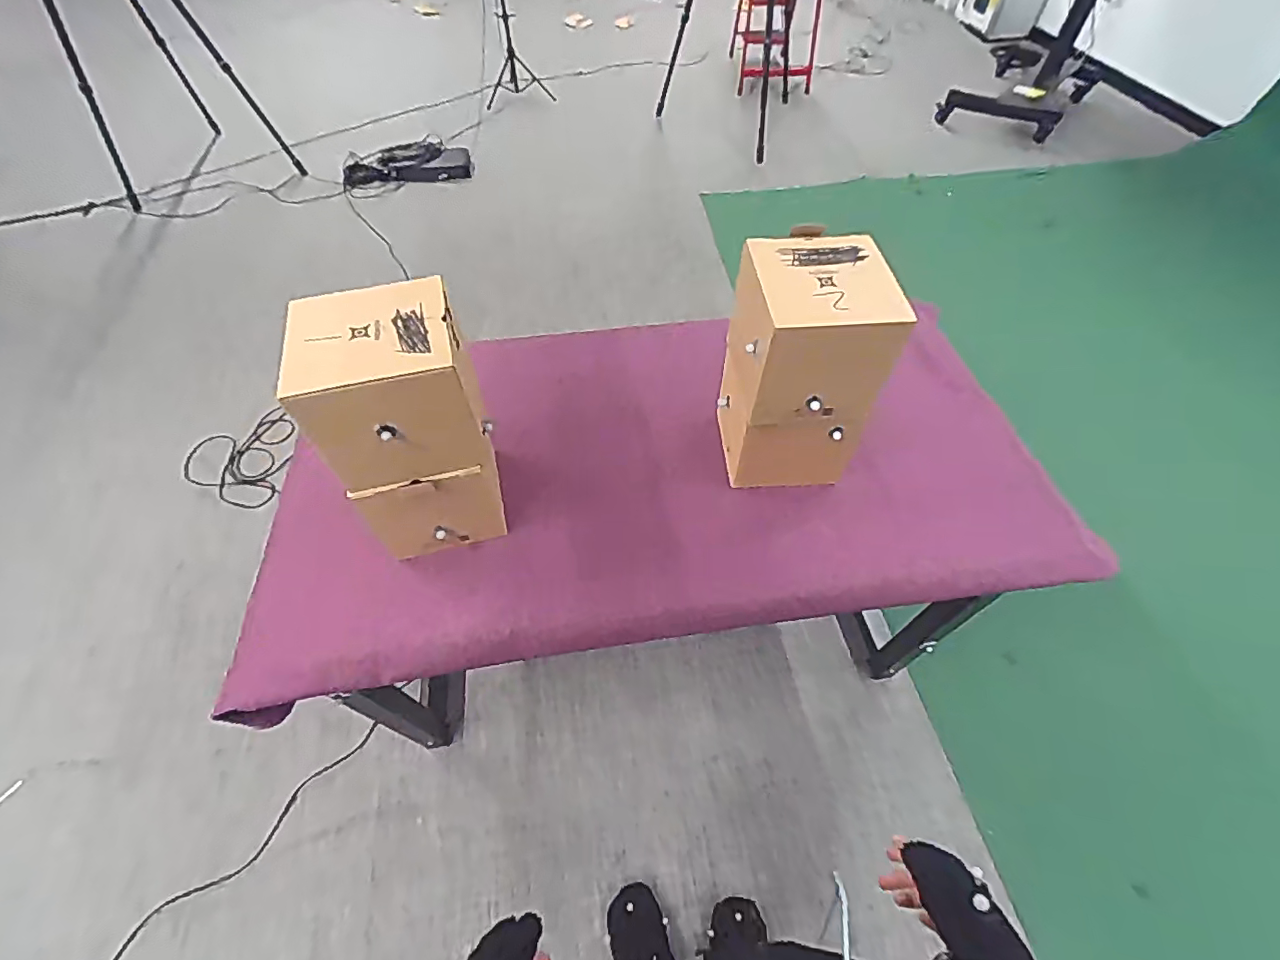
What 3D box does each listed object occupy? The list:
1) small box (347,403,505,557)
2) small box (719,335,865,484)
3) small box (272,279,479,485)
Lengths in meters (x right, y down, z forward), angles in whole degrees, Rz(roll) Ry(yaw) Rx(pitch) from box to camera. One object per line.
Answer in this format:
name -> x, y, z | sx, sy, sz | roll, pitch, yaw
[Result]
small box -> -0.303, -0.014, 0.791 | 0.168, 0.176, 0.179 | -13, 56, -8
small box -> 0.222, -0.106, 0.851 | 0.179, 0.176, 0.168 | -3, 55, -2
small box -> -0.299, -0.115, 0.657 | 0.179, 0.176, 0.168 | -11, 53, -8
